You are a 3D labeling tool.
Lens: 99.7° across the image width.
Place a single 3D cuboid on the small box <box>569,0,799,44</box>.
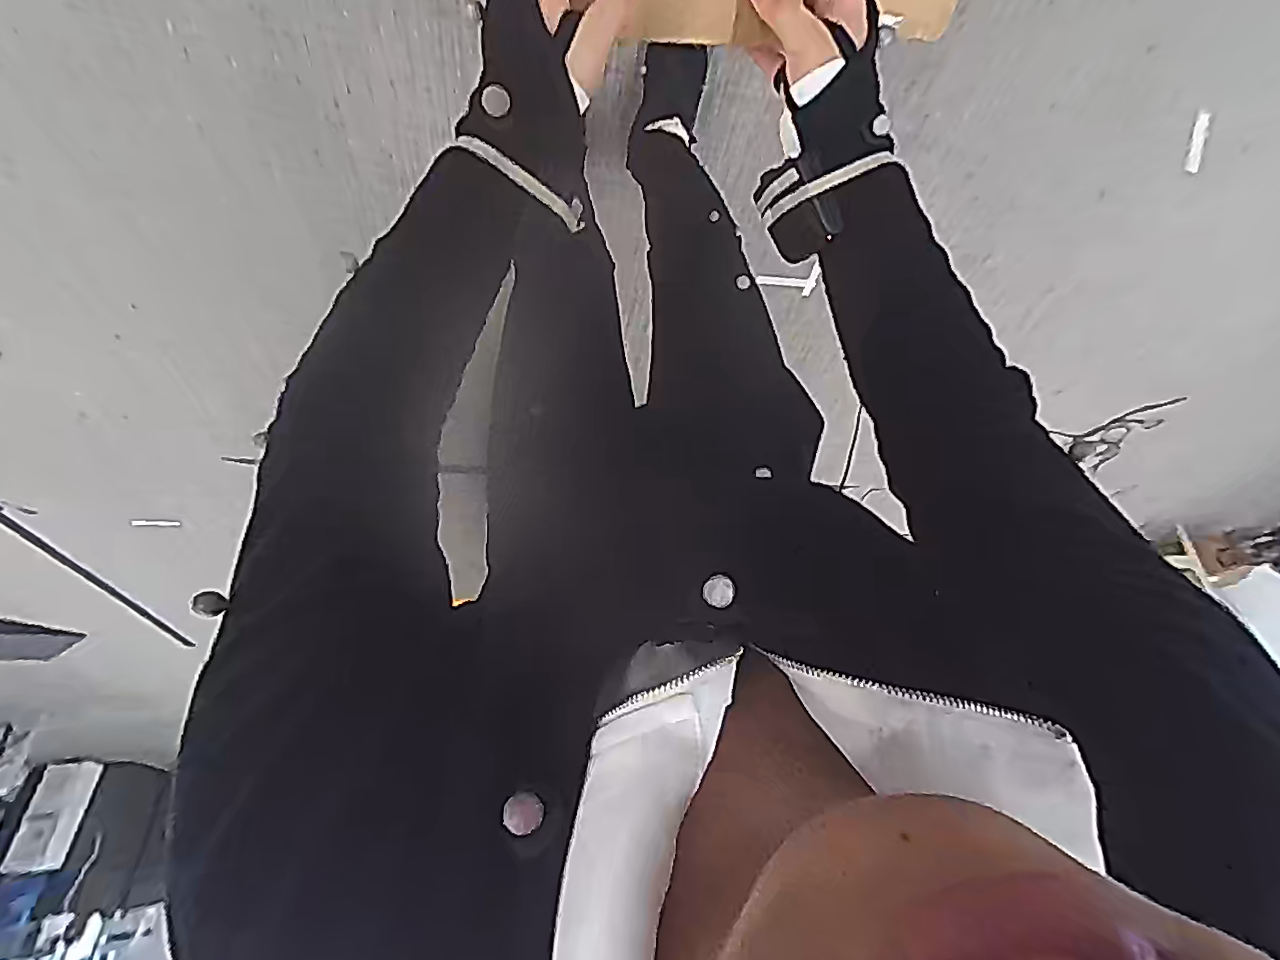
[{"bbox_3d":[0.025,-0.437,0.381,0.168,0.176,0.179,-4,139,-8],"label":"small box"}]
